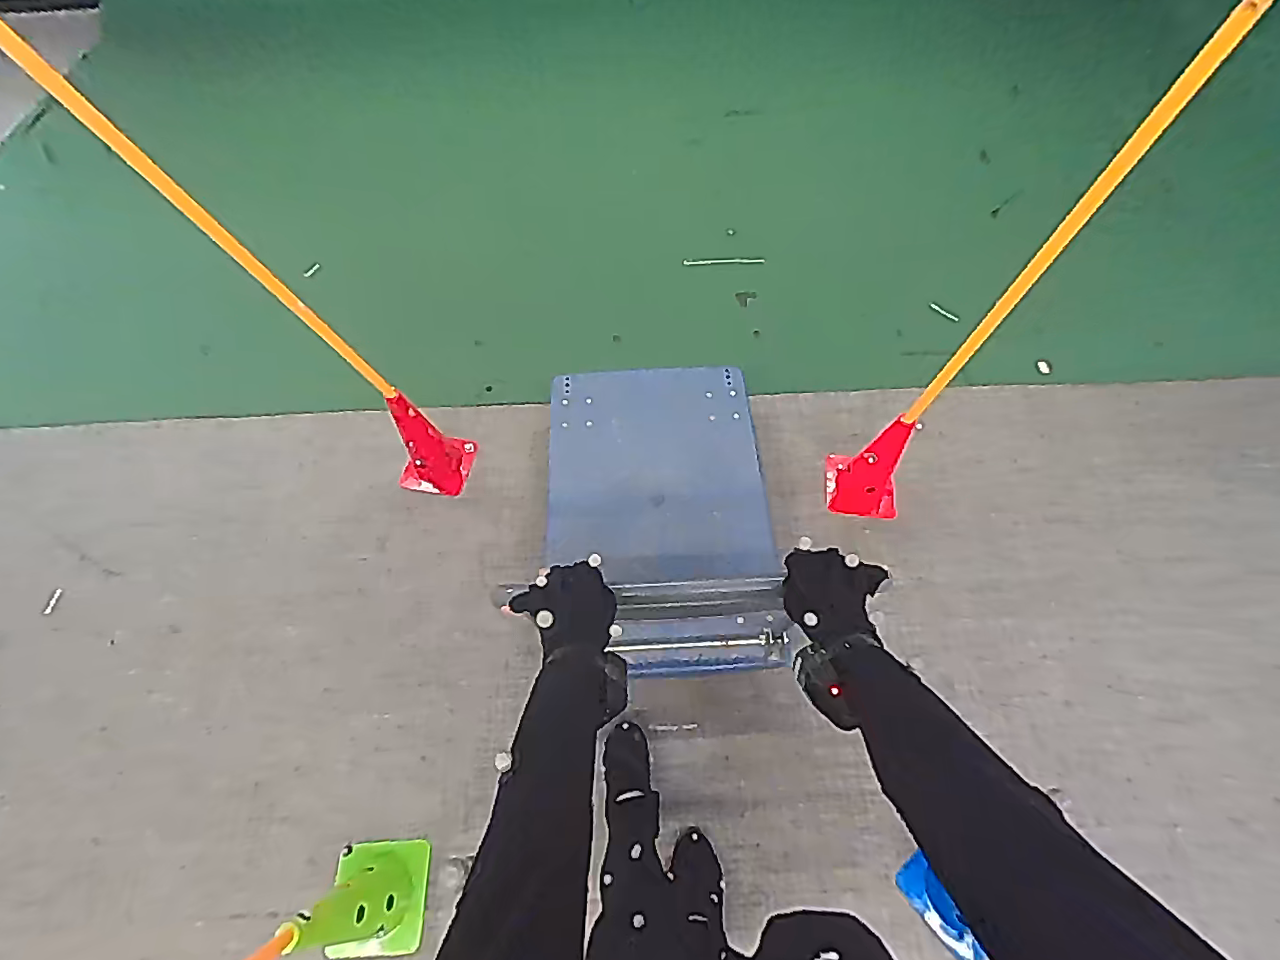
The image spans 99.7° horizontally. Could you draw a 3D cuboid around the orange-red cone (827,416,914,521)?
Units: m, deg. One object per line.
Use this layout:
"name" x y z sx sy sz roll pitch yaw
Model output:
"orange-red cone" 0.661 -0.057 1.477 0.198 0.360 0.199 8 62 6
